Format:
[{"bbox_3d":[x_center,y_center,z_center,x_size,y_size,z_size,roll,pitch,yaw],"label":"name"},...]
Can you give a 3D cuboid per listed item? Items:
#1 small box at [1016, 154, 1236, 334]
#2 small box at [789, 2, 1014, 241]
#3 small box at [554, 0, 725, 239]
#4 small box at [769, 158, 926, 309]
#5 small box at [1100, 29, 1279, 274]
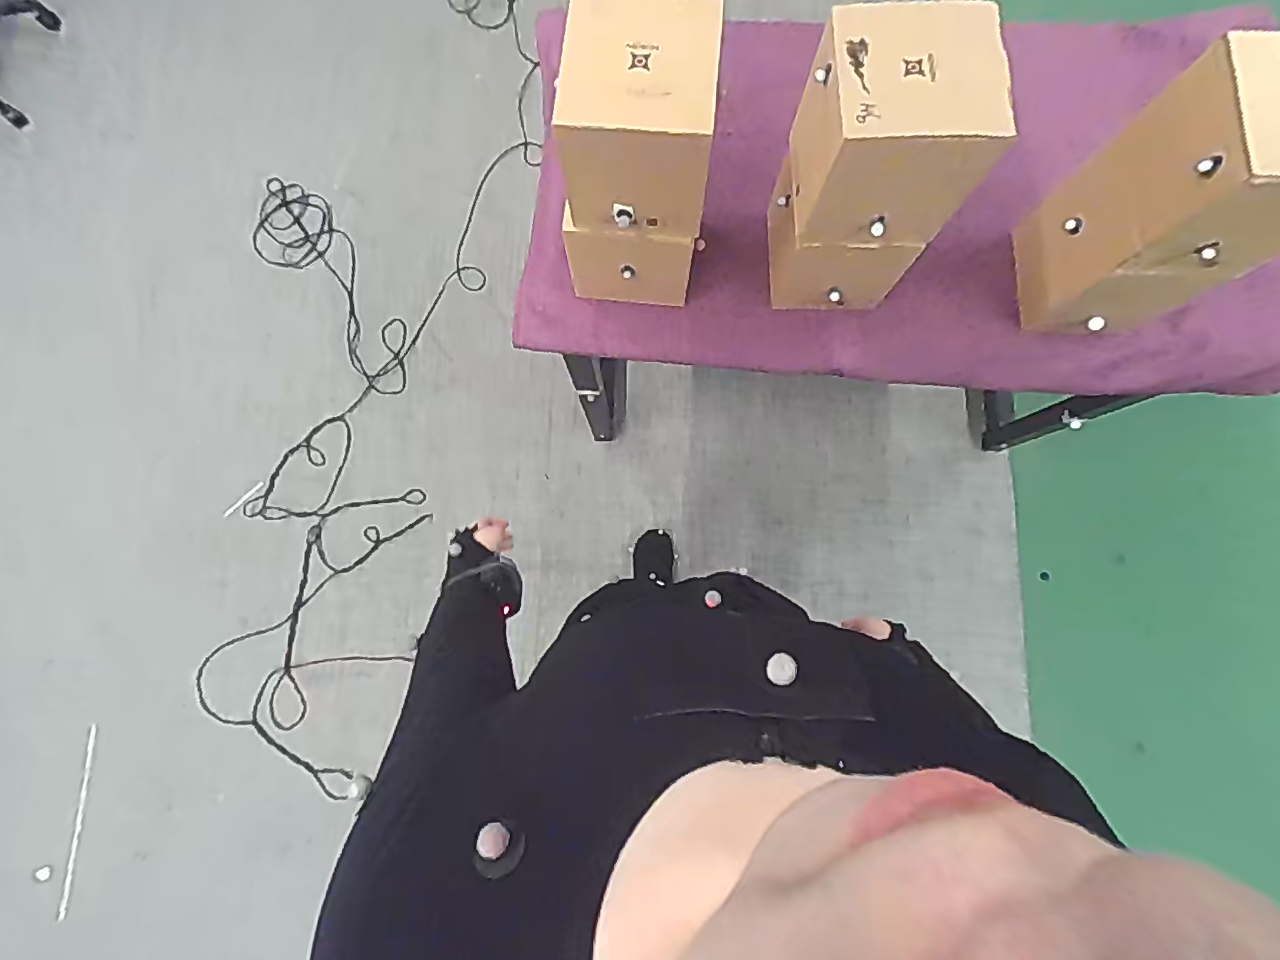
[{"bbox_3d":[0.682,-0.332,0.783,0.168,0.176,0.179,2,81,1],"label":"small box"},{"bbox_3d":[0.286,-0.402,0.630,0.179,0.176,0.168,0,78,0],"label":"small box"},{"bbox_3d":[0.002,-0.417,0.636,0.168,0.176,0.179,4,80,2],"label":"small box"},{"bbox_3d":[0.289,-0.373,0.792,0.168,0.176,0.179,0,79,1],"label":"small box"},{"bbox_3d":[0.682,-0.365,0.624,0.168,0.176,0.179,1,80,1],"label":"small box"}]
